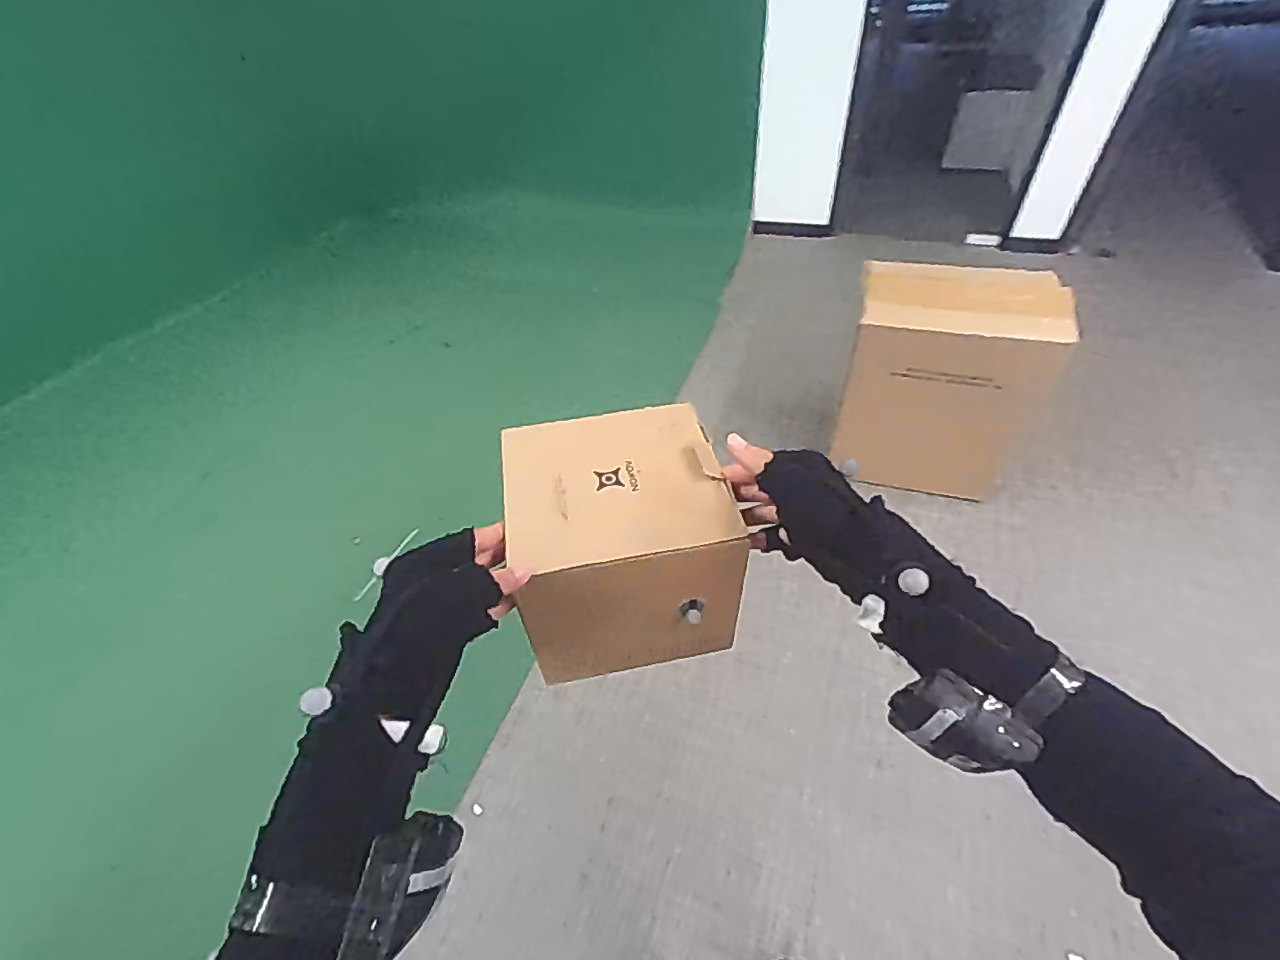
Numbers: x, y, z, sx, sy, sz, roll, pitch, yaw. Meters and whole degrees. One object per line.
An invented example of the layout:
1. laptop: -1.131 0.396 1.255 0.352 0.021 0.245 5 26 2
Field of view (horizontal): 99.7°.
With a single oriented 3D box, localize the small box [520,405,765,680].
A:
1. small box: -0.005 0.057 0.492 0.179 0.176 0.168 -10 44 -6
